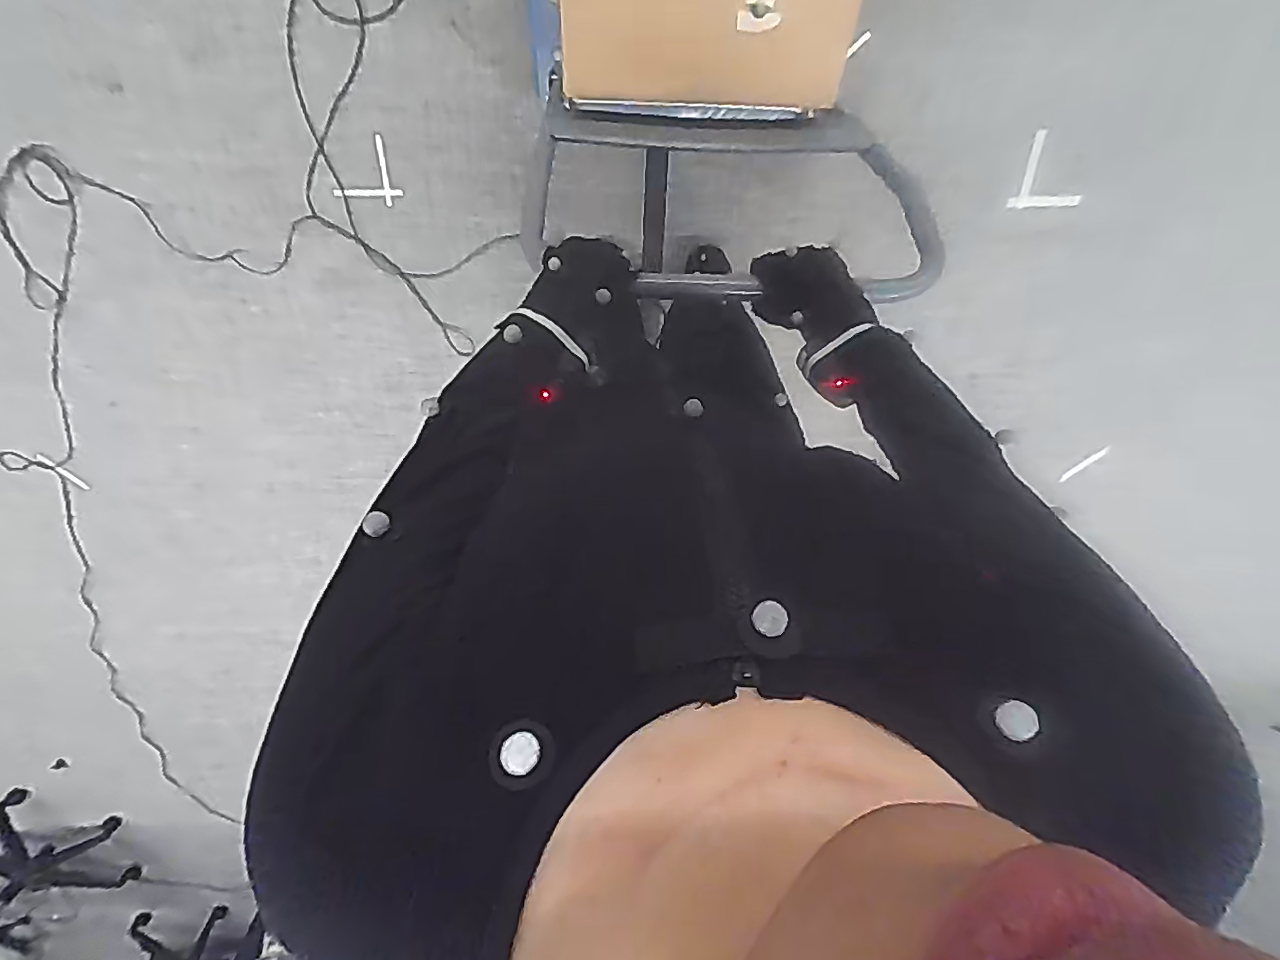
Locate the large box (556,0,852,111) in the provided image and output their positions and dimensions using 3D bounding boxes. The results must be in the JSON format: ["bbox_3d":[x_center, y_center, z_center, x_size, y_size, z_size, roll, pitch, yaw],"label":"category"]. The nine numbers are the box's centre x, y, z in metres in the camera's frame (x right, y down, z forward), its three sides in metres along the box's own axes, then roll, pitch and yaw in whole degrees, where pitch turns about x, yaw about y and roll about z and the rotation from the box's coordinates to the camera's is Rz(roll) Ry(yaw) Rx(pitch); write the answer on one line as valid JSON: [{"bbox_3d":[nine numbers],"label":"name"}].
[{"bbox_3d":[0.079,-0.764,0.799,0.408,0.320,0.320,-1,136,-4],"label":"large box"}]
